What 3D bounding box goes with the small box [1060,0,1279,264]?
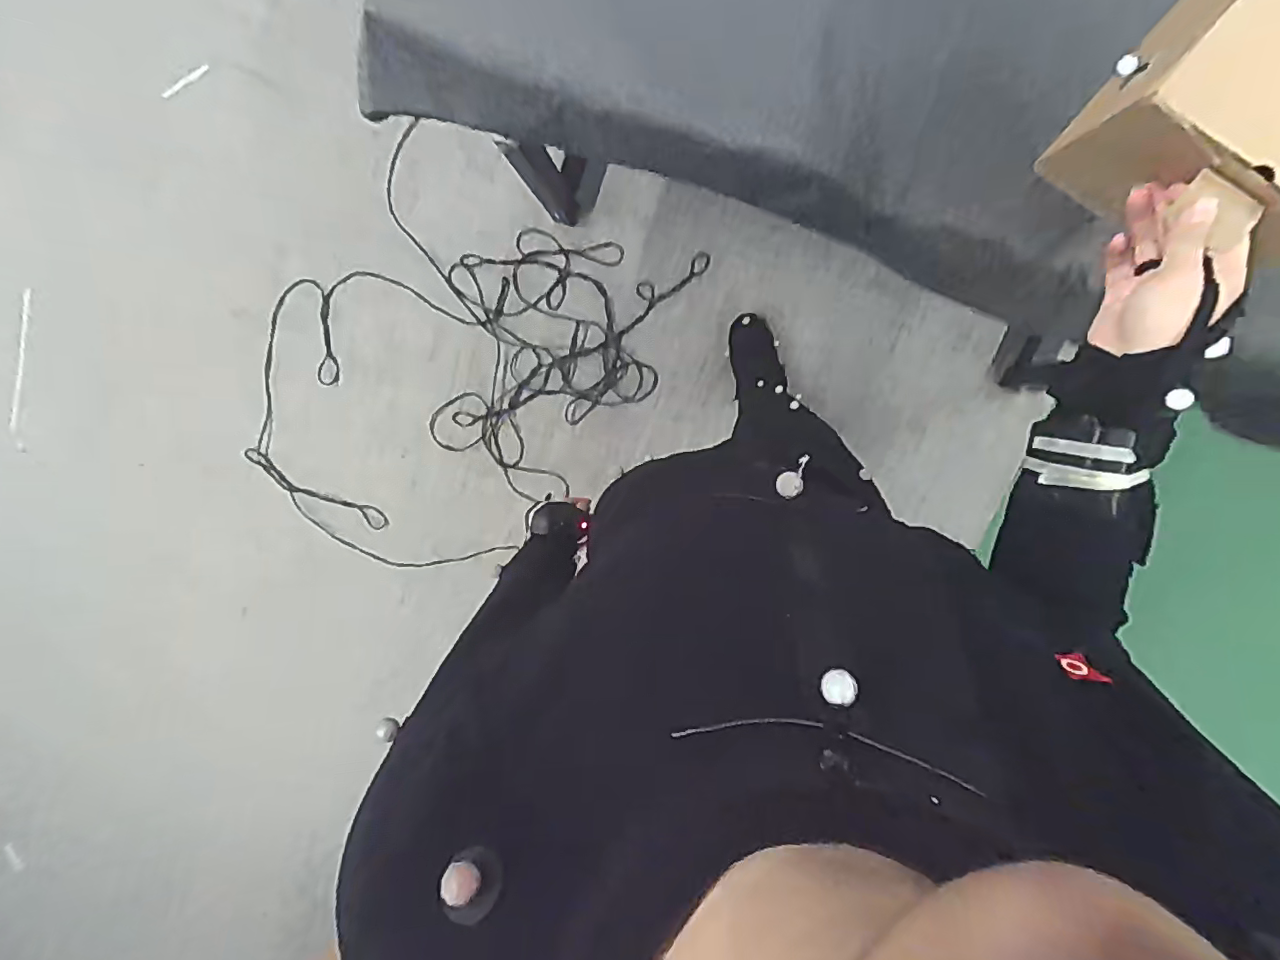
[{"bbox_3d":[0.437,-0.269,0.365,0.168,0.176,0.179,37,111,1],"label":"small box"}]
